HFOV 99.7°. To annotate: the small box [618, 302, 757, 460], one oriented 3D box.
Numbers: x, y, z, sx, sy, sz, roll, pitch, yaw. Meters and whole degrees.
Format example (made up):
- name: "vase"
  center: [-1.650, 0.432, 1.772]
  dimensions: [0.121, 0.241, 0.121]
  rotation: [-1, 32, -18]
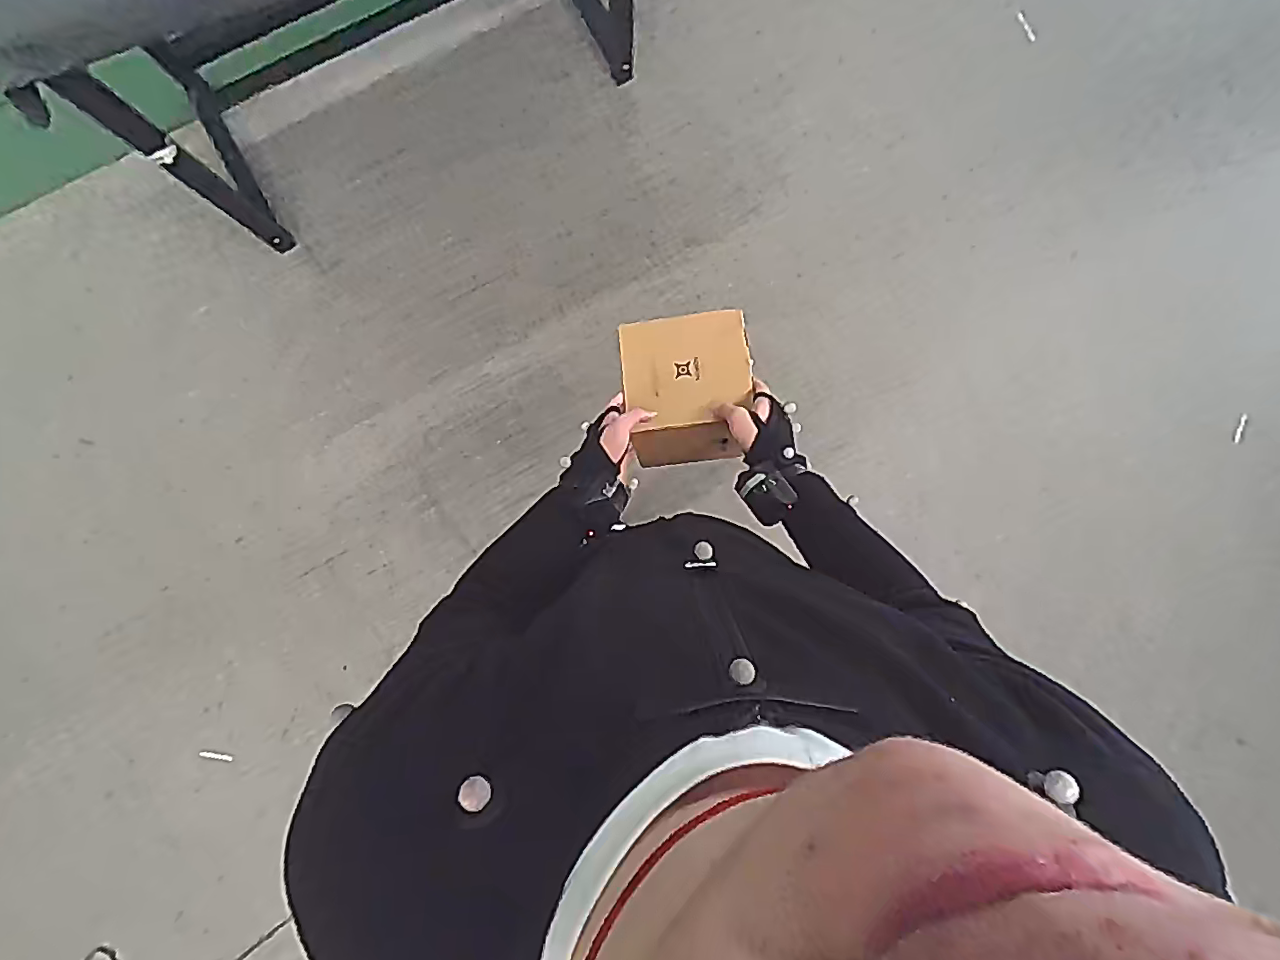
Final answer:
- name: "small box"
  center: [0.067, -0.135, 0.793]
  dimensions: [0.179, 0.176, 0.168]
  rotation: [-5, 73, 5]
